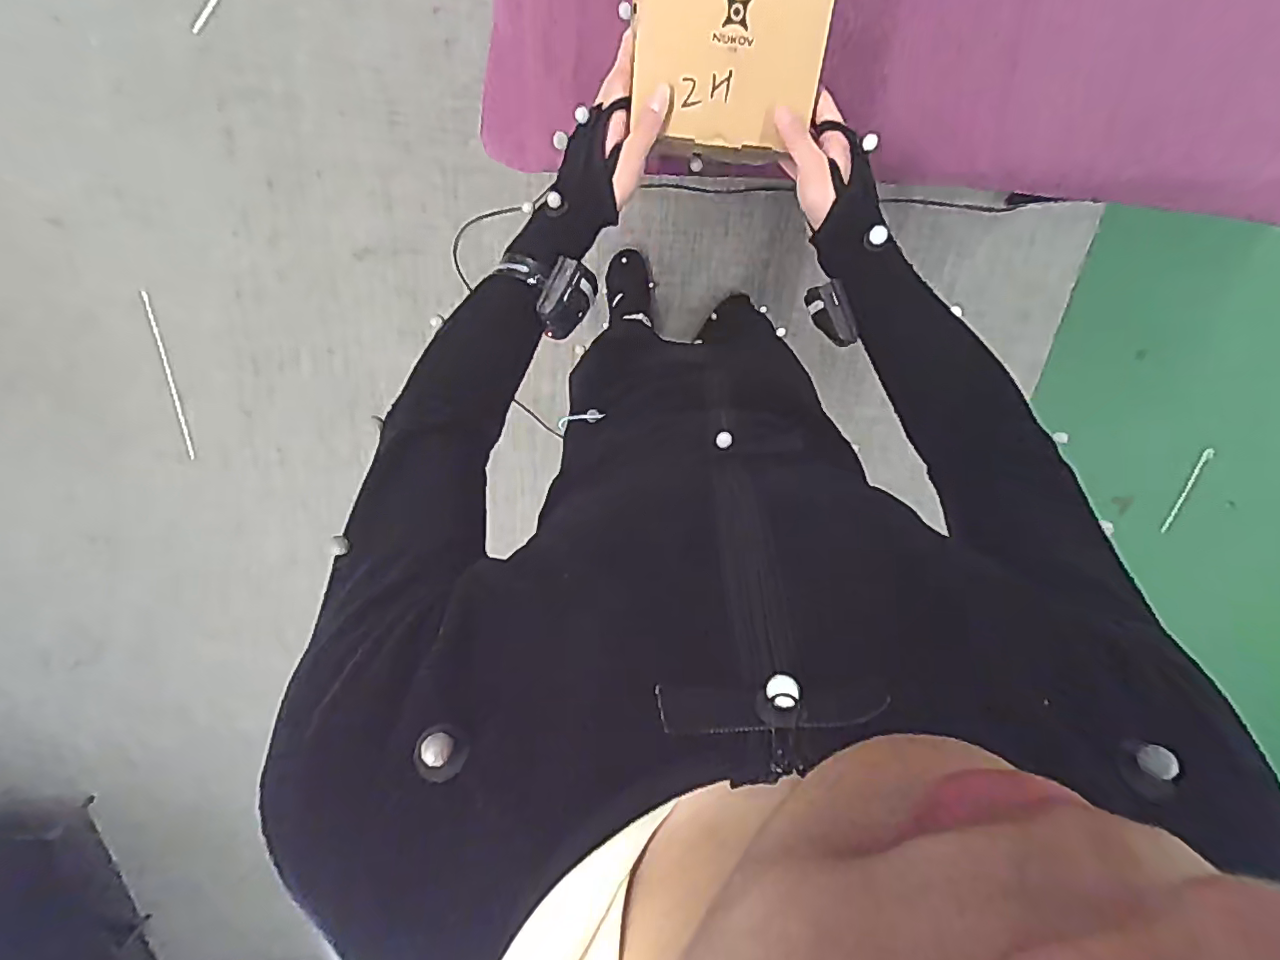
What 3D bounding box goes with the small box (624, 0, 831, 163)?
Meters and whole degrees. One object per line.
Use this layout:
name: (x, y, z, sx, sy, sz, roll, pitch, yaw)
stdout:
small box: (0.073, -0.424, 0.528, 0.168, 0.176, 0.179, 3, 117, -5)
